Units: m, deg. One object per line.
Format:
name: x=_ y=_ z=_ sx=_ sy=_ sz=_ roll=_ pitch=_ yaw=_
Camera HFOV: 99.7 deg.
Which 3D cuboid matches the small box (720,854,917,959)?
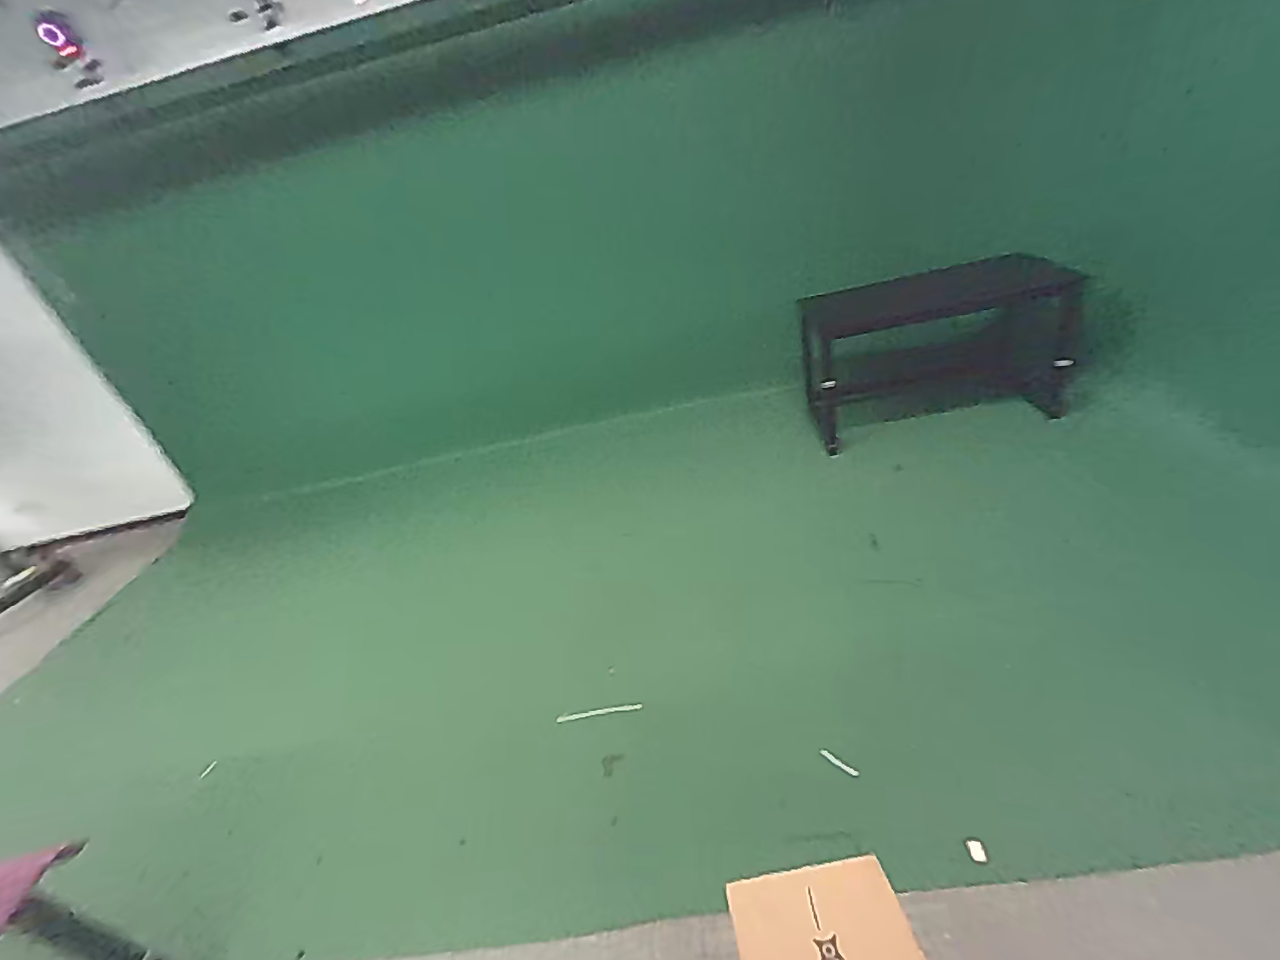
small box: x=0.182 y=0.512 z=0.515 sx=0.168 sy=0.176 sz=0.179 roll=-11 pitch=17 yaw=1
